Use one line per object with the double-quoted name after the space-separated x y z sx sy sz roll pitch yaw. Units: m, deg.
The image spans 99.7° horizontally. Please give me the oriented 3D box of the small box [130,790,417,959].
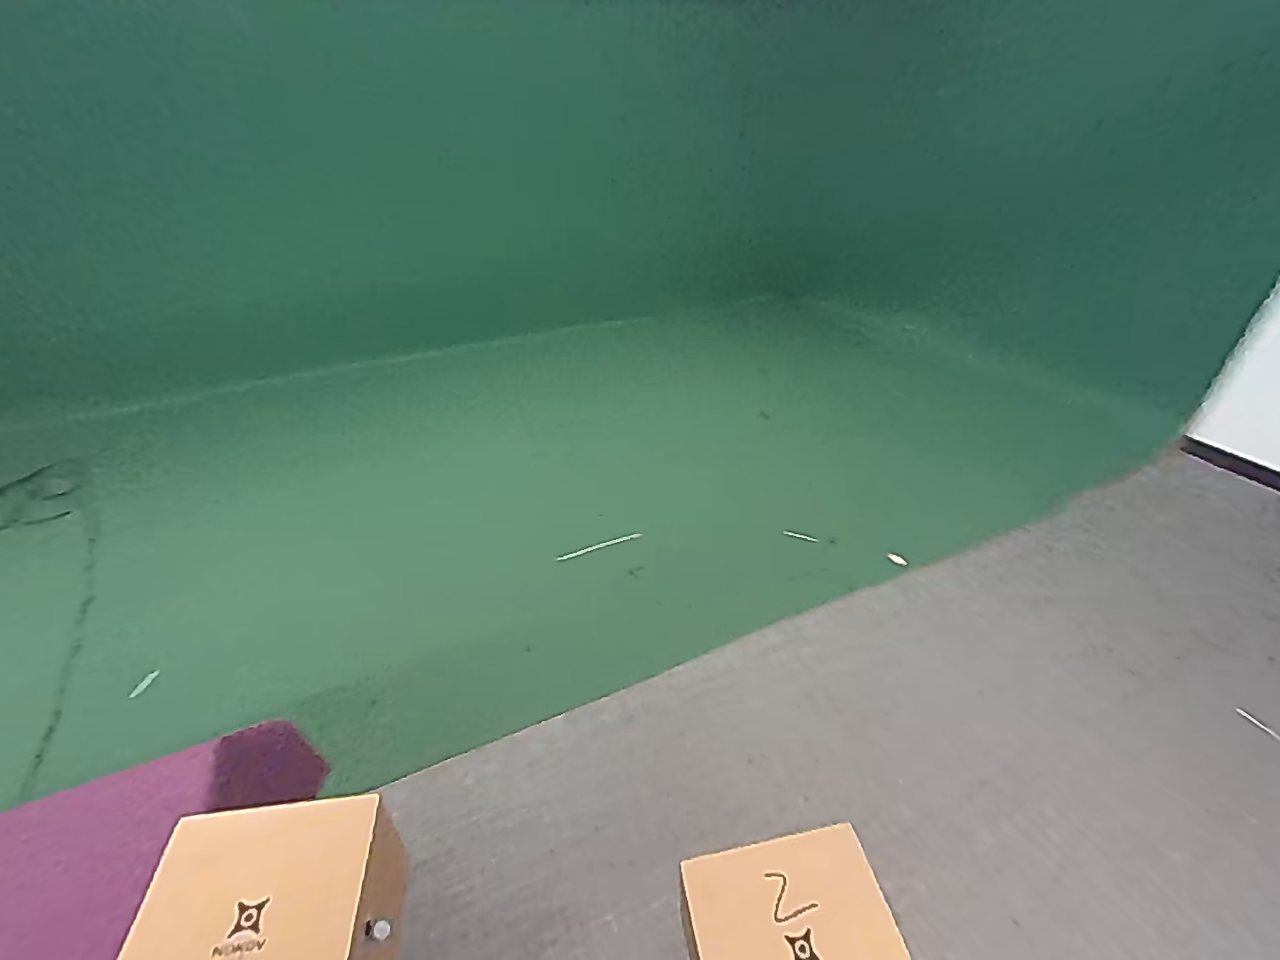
-0.304 0.403 0.474 0.168 0.176 0.179 0 40 -9 "small box"
